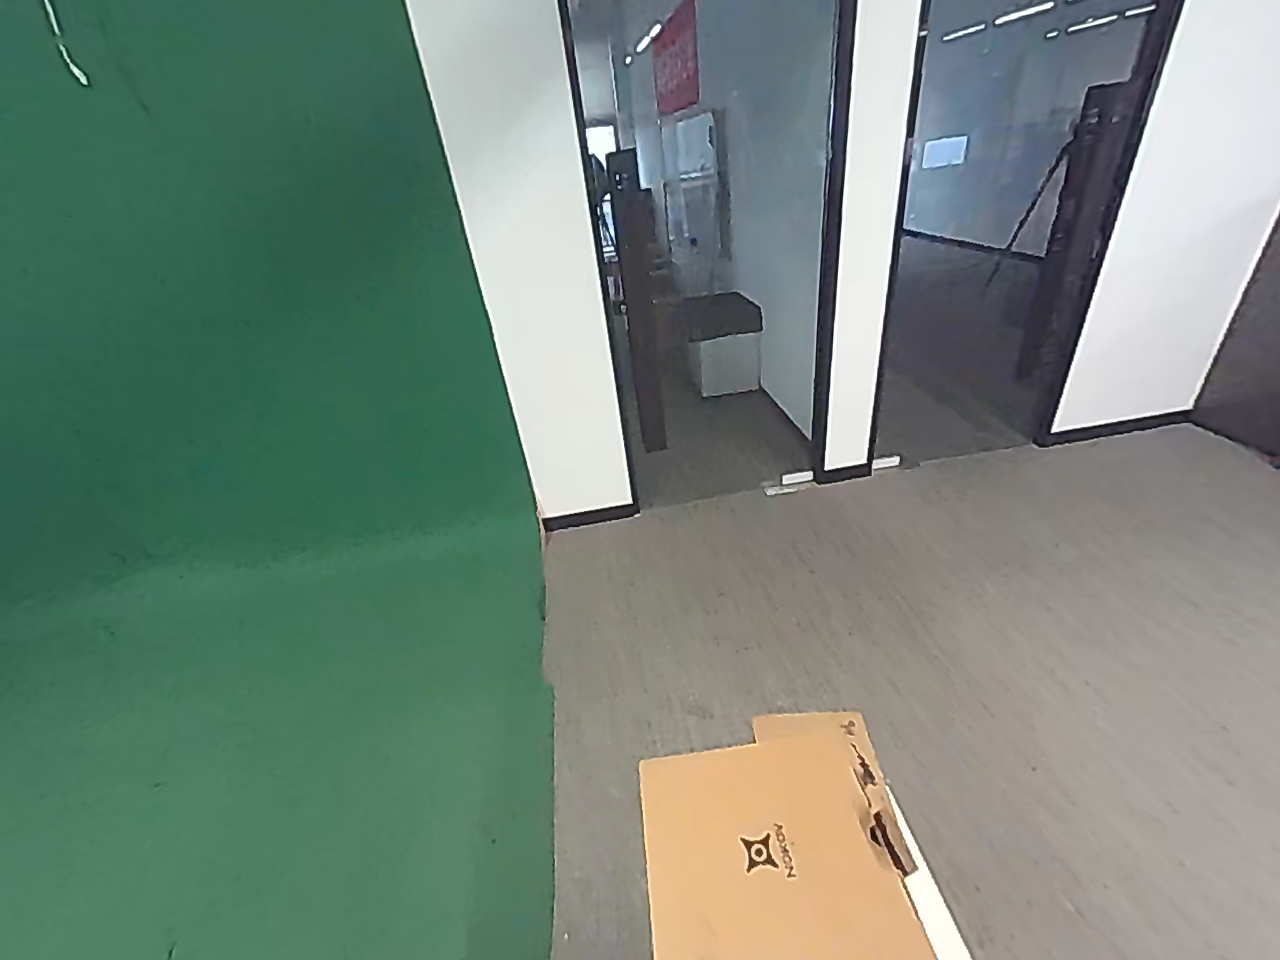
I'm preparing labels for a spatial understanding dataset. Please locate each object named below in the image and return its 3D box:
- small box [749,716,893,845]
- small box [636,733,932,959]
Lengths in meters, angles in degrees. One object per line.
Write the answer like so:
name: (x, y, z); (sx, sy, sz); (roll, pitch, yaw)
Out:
small box: (0.269, 0.493, 0.837); (0.179, 0.176, 0.168); (-5, 31, 6)
small box: (0.097, 0.336, 0.430); (0.179, 0.176, 0.168); (-8, 30, 0)
